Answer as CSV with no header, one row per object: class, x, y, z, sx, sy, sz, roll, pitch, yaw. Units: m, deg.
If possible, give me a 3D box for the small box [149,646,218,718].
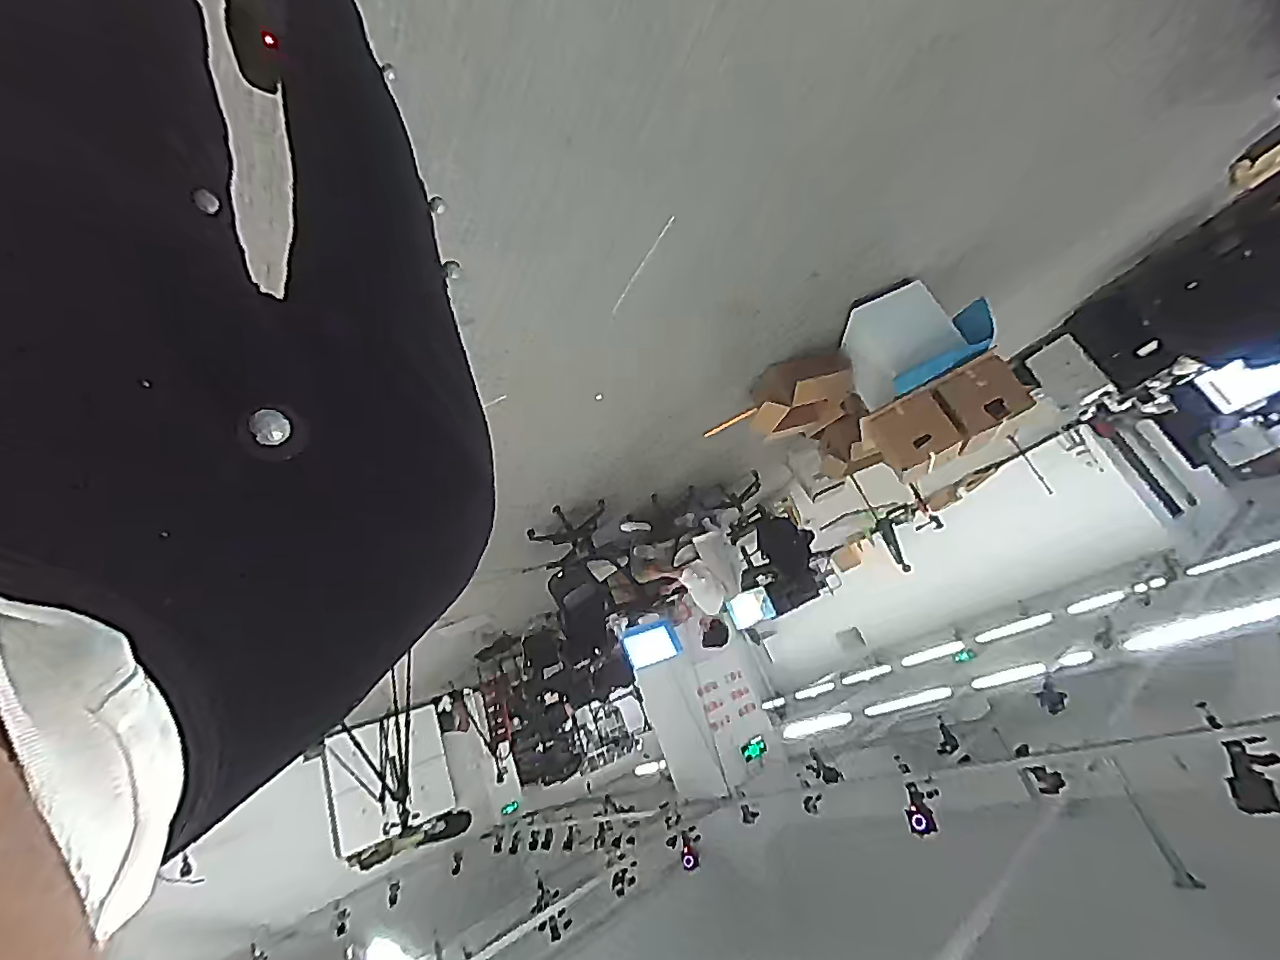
small box,-1.533,0.672,1.817,0.168,0.176,0.179,-4,151,-40
